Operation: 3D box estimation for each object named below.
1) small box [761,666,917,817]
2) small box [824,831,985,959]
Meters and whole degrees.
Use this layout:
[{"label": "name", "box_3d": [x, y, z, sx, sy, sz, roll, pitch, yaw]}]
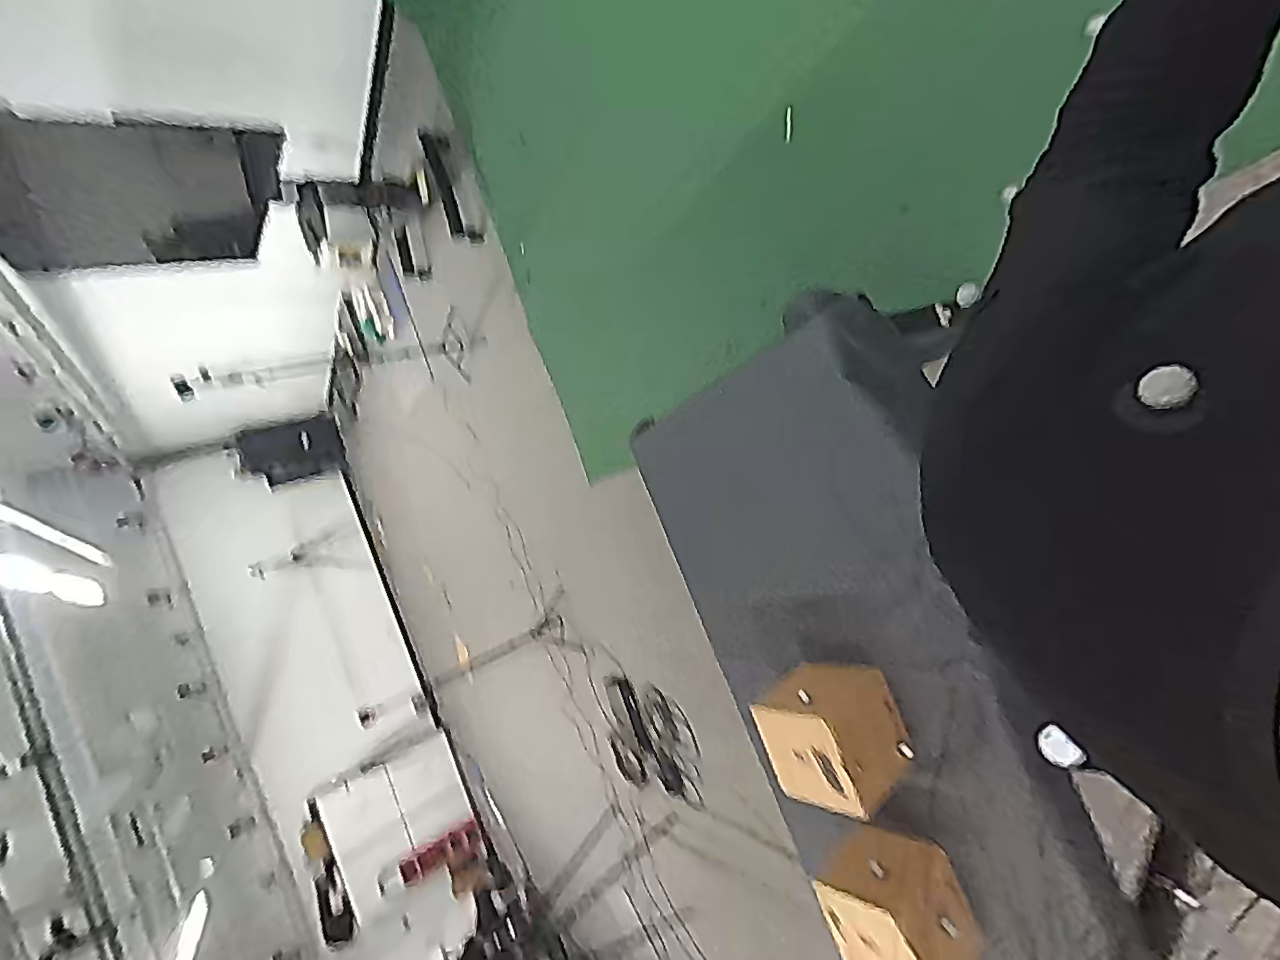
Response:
[{"label": "small box", "box_3d": [0.354, 0.442, 0.950, 0.179, 0.176, 0.168, -26, 84, 56]}, {"label": "small box", "box_3d": [0.466, 0.754, 0.944, 0.179, 0.176, 0.168, -31, 80, 54]}]
